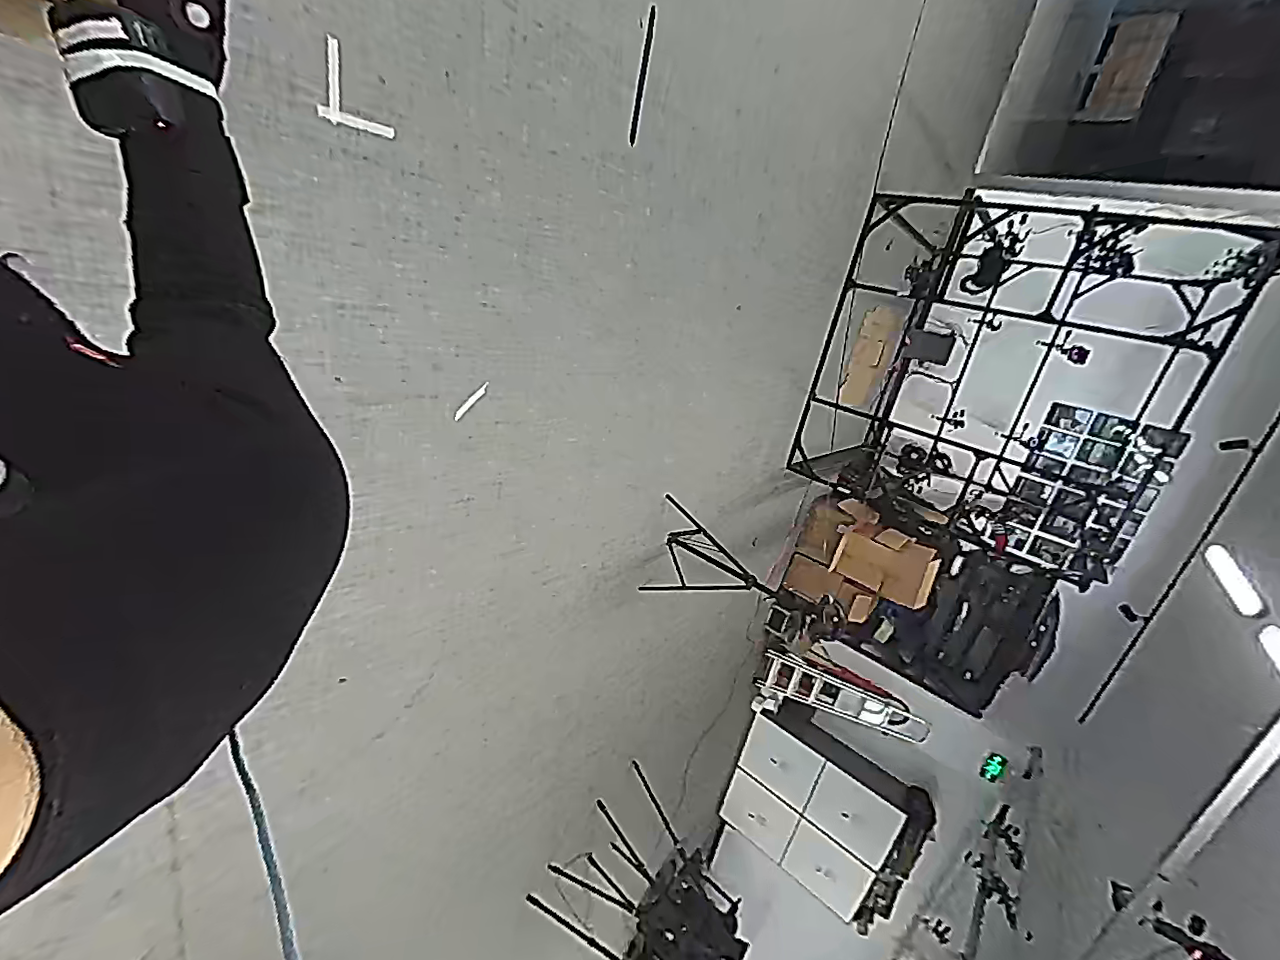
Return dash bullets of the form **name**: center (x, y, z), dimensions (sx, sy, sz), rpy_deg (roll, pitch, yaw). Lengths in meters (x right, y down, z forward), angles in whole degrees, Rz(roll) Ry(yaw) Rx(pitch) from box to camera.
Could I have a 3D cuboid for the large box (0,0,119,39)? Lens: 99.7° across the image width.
- **large box**: center (-0.564, -0.458, 0.233), dimensions (0.408, 0.320, 0.320), rpy_deg (-19, 128, -51)
